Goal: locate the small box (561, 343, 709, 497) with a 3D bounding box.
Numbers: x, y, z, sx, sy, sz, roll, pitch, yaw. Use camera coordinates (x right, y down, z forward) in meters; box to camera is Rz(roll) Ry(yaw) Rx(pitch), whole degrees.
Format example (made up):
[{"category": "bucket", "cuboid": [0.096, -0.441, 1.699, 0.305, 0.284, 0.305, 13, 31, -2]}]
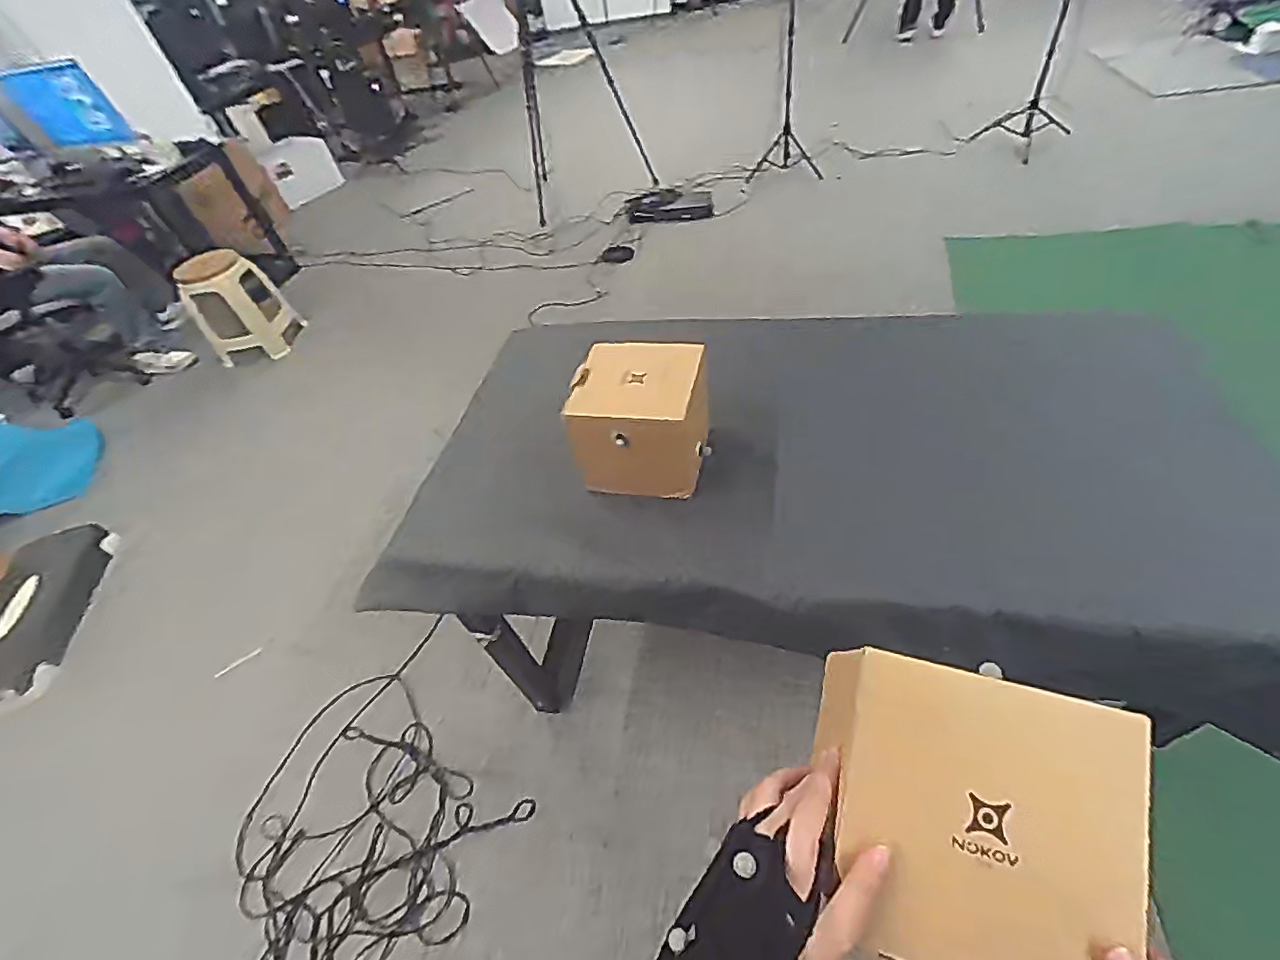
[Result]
[{"category": "small box", "cuboid": [0.004, -0.090, 0.824, 0.179, 0.176, 0.168, 5, 51, 15]}]
